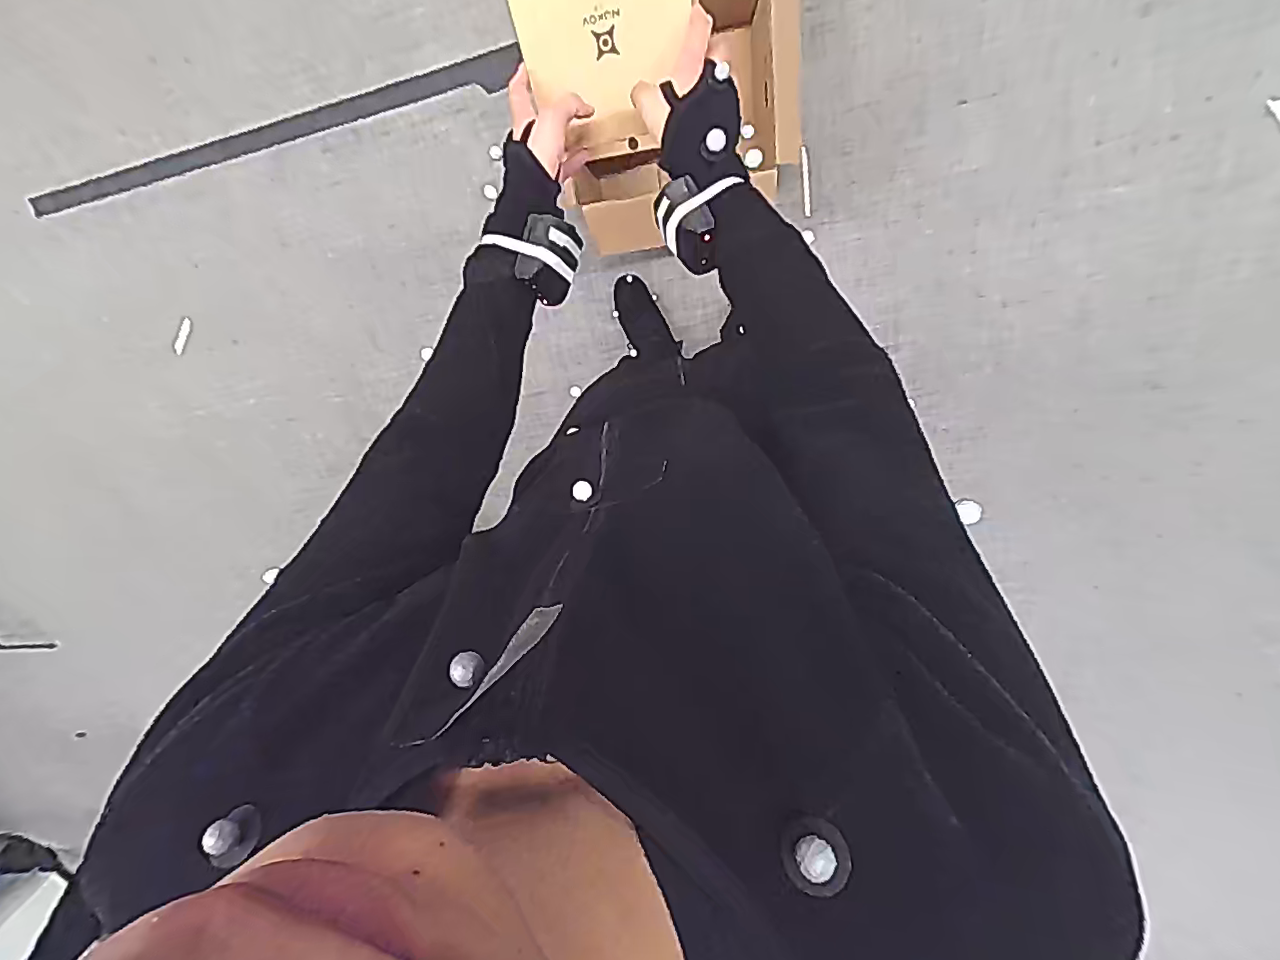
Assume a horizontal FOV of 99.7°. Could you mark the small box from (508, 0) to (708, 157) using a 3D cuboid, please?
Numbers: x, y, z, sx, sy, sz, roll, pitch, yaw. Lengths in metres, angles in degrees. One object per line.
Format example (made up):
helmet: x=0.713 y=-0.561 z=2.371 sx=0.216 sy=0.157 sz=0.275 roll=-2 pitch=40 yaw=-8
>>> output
small box: x=-0.022 y=-0.457 z=0.556 sx=0.168 sy=0.176 sz=0.179 roll=-5 pitch=124 yaw=12
